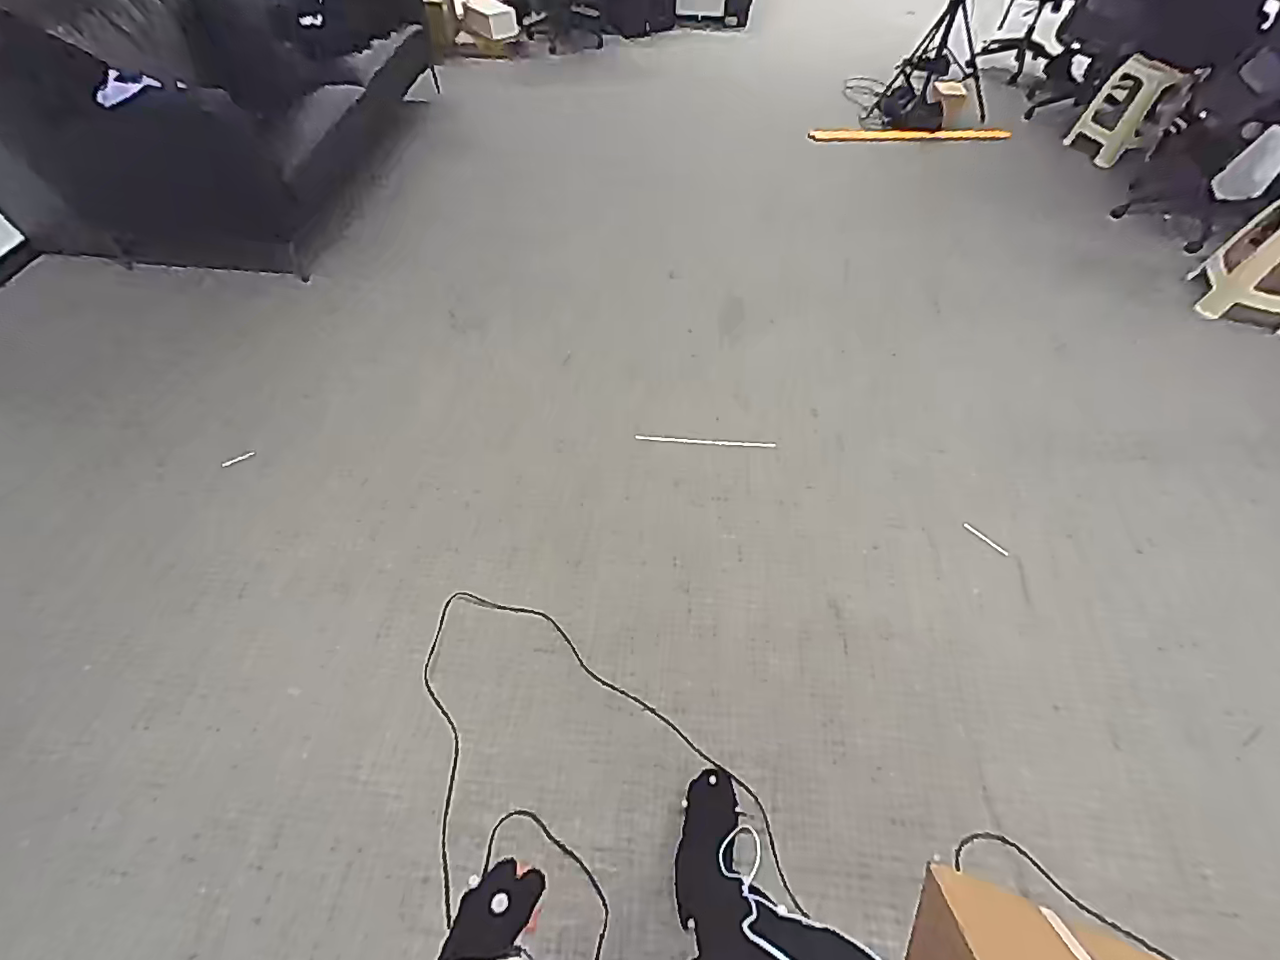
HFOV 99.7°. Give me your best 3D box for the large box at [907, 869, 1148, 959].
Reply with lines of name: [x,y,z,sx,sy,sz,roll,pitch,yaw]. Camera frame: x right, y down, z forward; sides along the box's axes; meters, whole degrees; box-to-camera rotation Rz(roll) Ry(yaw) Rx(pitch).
large box: [0.500,0.758,0.601,0.320,0.408,0.320,17,86,16]
